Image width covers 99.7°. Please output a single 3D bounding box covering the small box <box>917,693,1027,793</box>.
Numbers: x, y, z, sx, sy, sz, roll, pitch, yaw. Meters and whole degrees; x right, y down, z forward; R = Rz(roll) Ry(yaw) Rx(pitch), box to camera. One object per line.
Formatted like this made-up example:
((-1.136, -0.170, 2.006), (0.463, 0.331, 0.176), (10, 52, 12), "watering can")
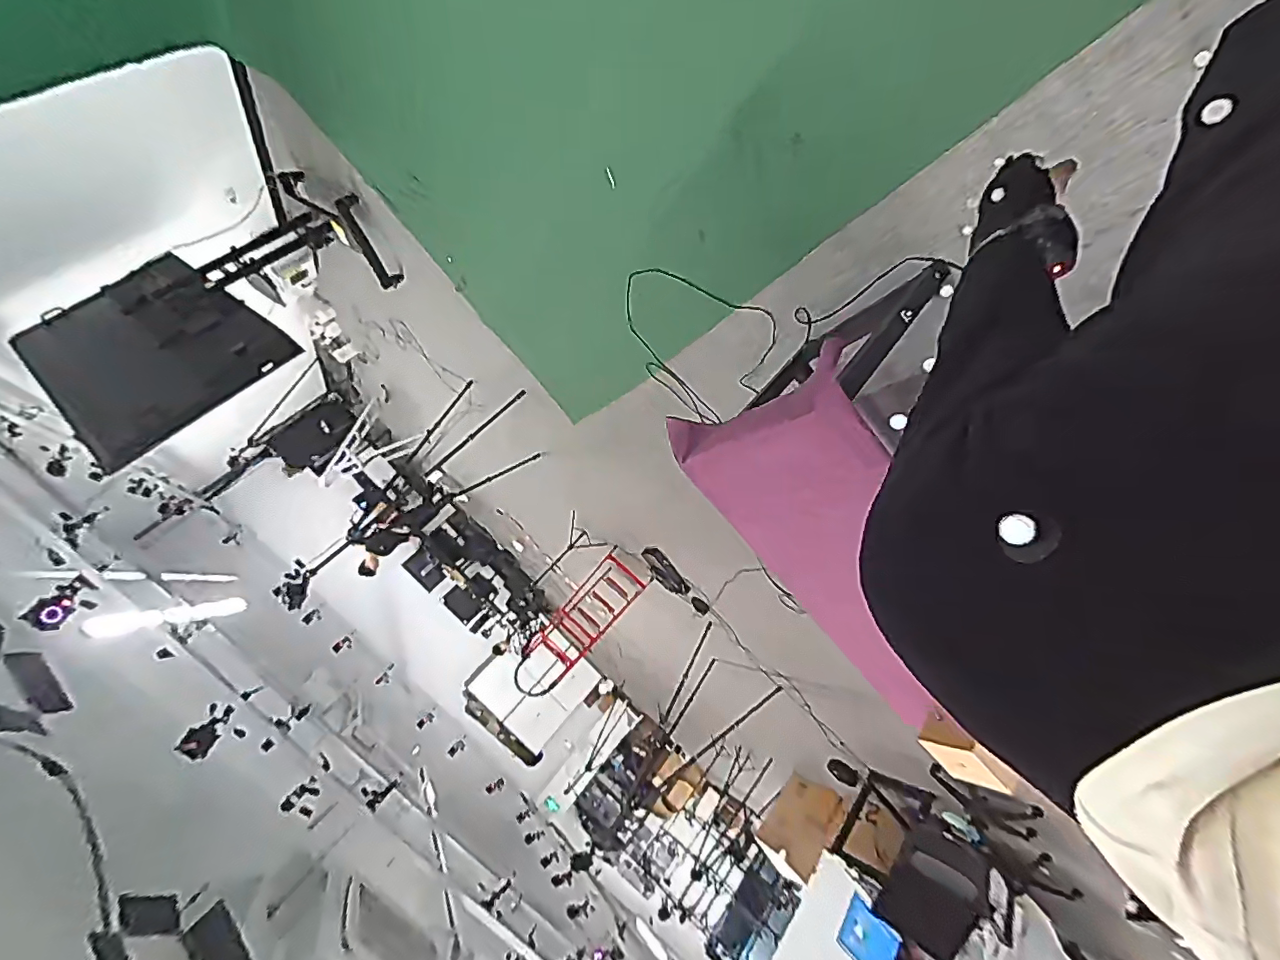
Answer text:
((0.923, 0.720, 1.502), (0.168, 0.176, 0.179), (47, 155, -6), "small box")
